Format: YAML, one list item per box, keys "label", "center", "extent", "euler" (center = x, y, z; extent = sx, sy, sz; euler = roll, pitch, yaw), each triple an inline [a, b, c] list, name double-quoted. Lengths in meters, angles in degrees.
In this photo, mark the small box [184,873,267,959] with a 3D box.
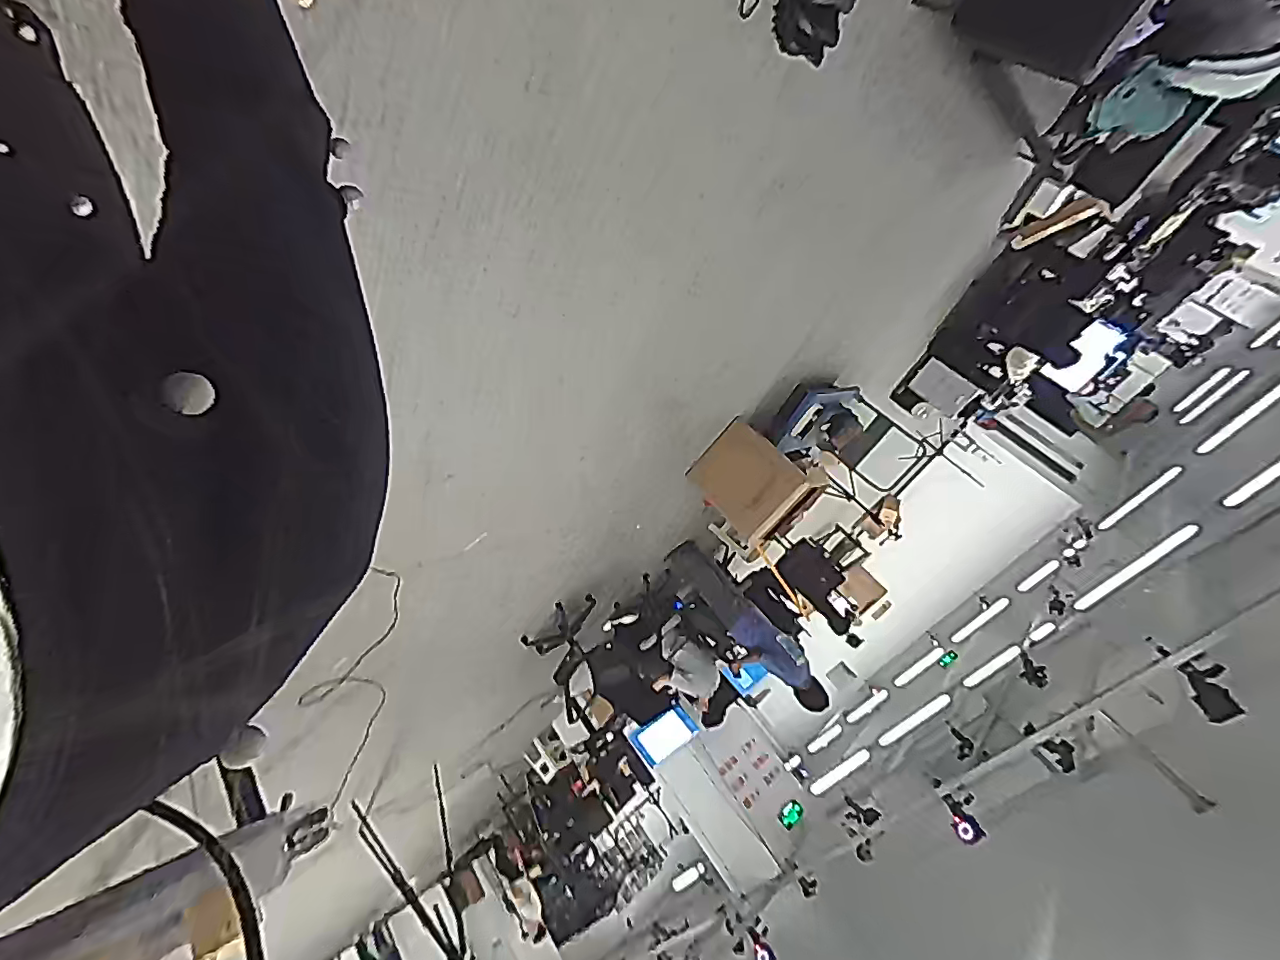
- label: "small box"
  center: [-1.323, 1.410, 1.729]
  extent: [0.179, 0.176, 0.168]
  euler: [-15, 144, -43]
